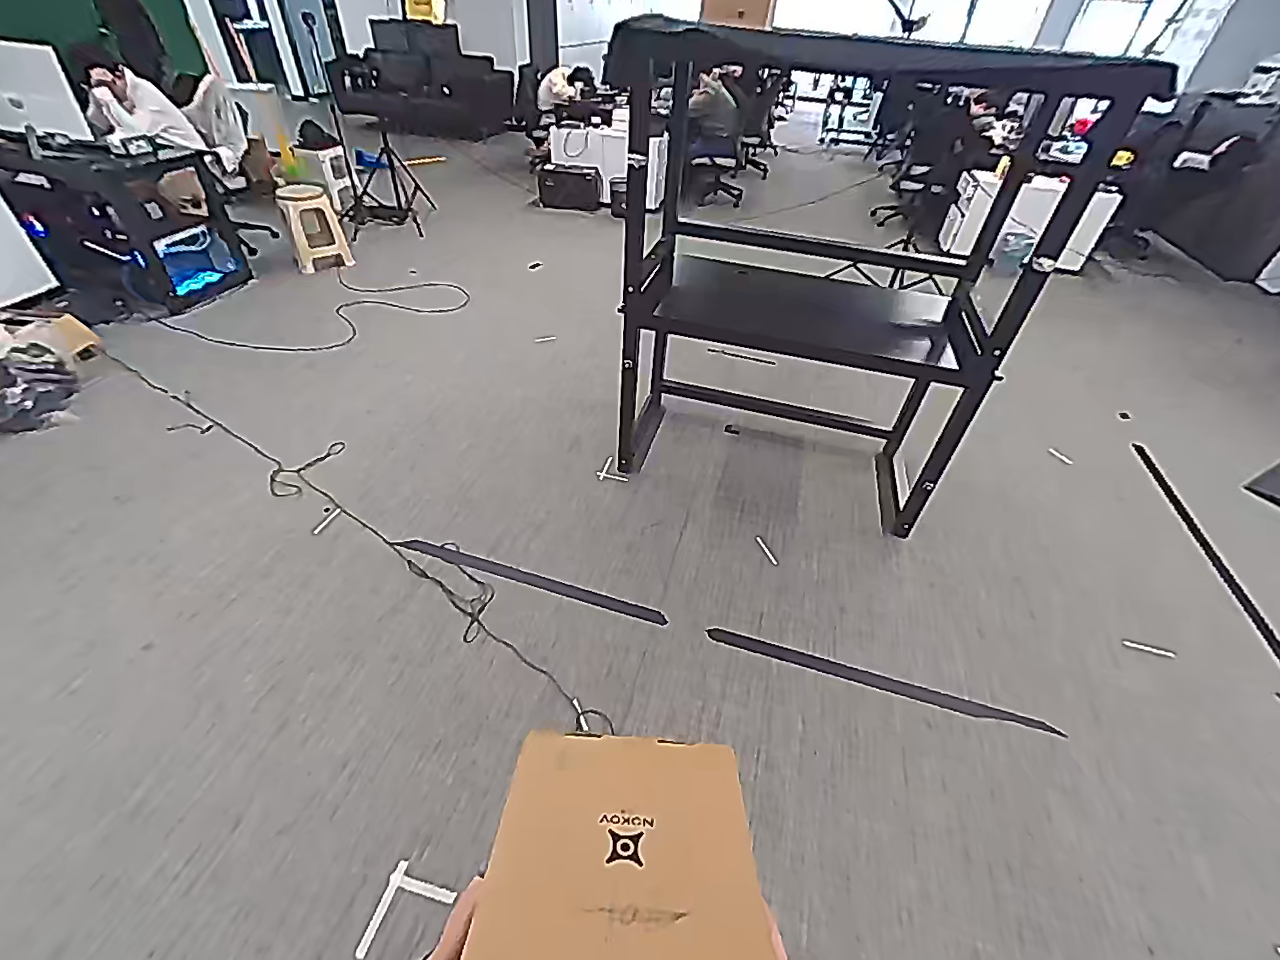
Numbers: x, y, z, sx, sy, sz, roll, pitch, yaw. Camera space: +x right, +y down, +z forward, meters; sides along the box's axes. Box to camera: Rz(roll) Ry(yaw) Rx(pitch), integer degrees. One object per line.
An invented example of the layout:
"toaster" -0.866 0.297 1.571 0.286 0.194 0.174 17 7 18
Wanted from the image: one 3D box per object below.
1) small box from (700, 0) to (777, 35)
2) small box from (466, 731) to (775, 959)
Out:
"small box" 0.247 -1.195 1.313 0.168 0.176 0.179 14 40 9
"small box" -0.014 0.307 0.369 0.168 0.176 0.179 4 19 -1
